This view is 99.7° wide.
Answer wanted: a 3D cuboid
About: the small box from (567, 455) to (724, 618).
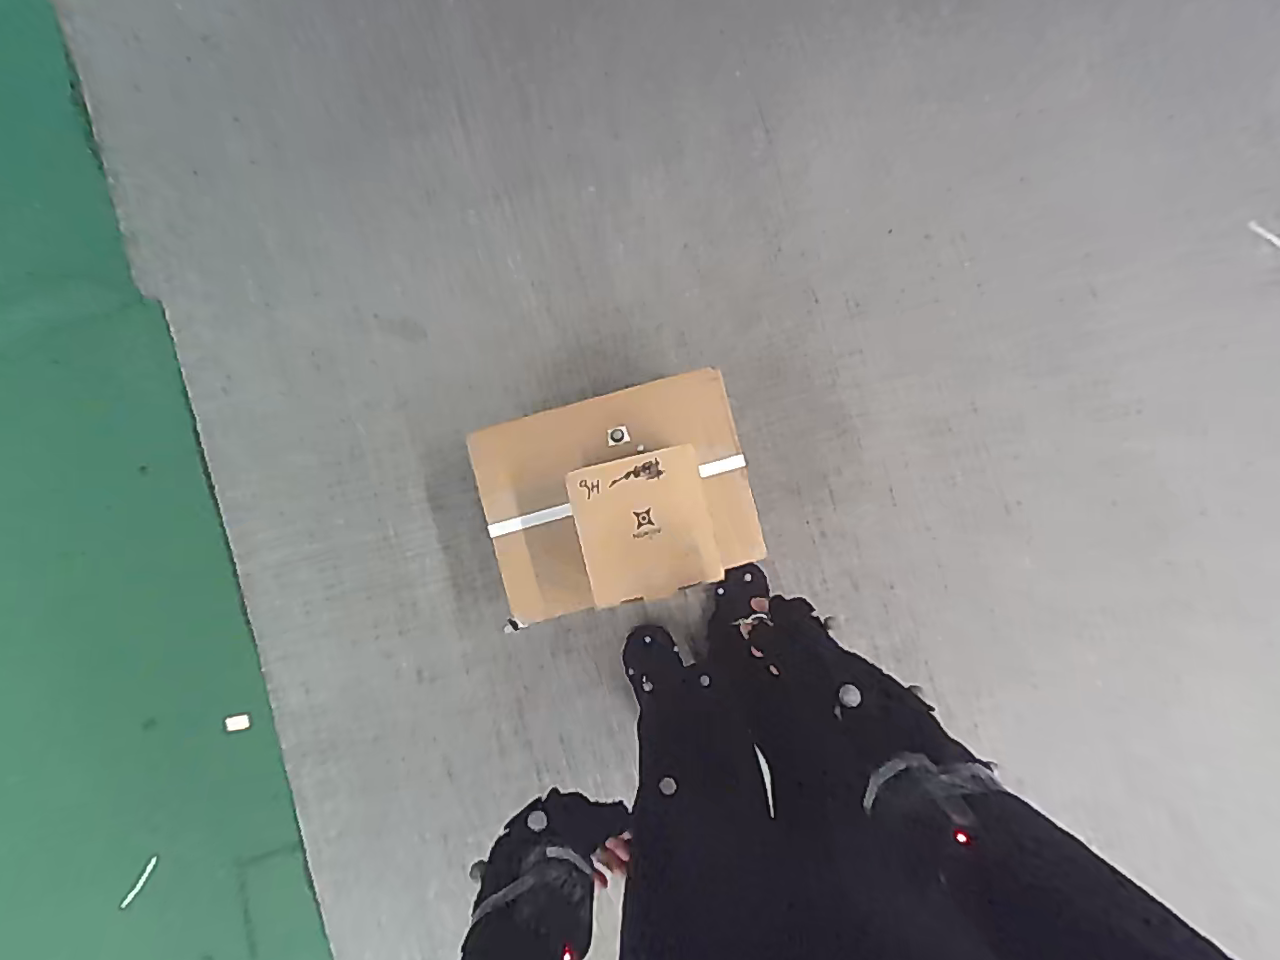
[{"bbox_3d":[0.008,0.069,0.743,0.168,0.176,0.179,-13,90,0],"label":"small box"}]
